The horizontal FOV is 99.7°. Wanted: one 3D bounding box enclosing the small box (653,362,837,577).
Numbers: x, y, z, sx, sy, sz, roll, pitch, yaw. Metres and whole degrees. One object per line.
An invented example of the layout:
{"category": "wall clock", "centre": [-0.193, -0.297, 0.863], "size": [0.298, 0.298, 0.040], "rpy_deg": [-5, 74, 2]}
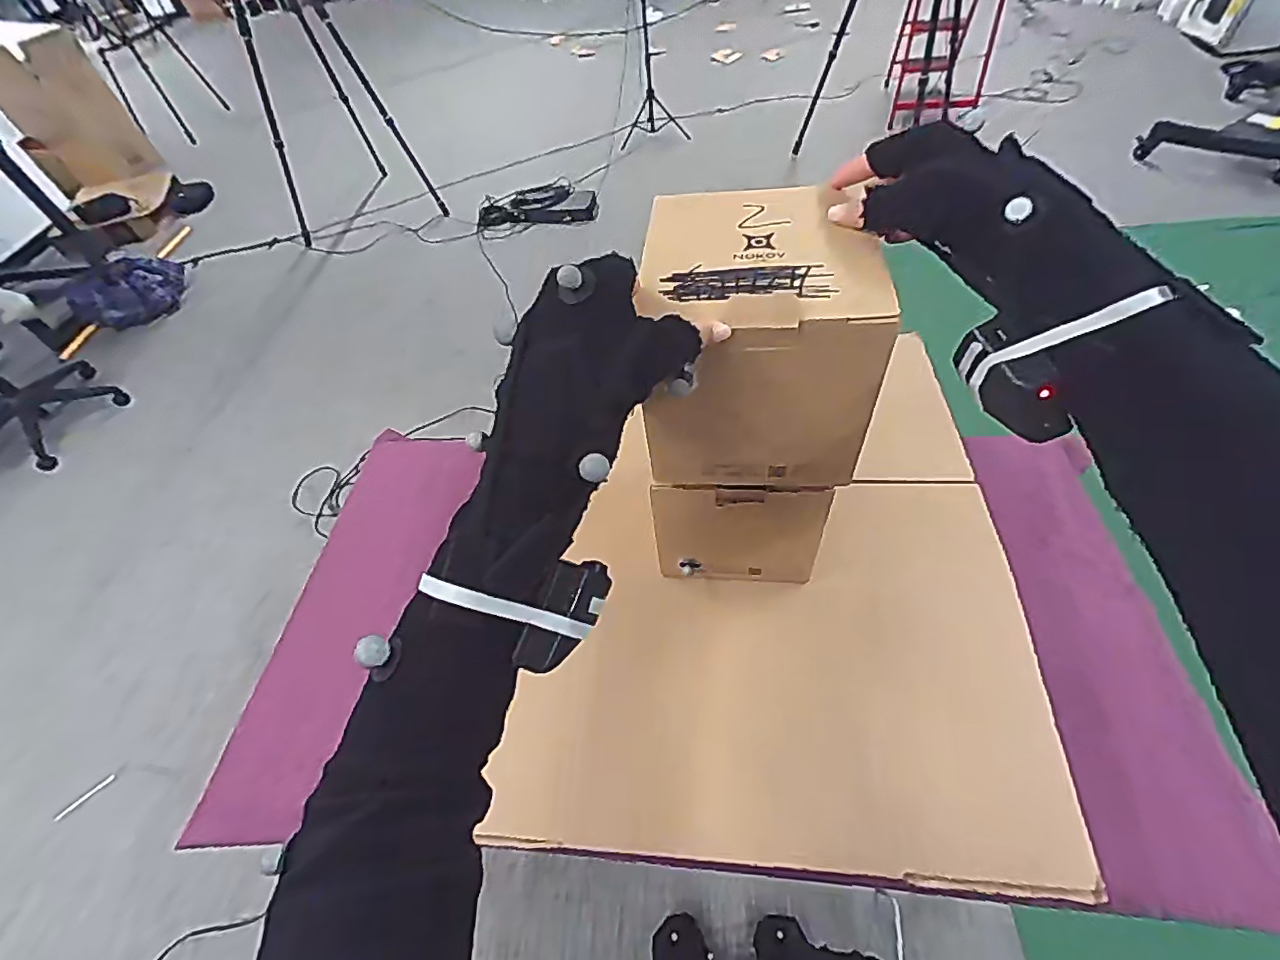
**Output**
{"category": "small box", "centre": [0.105, -0.004, 0.592], "size": [0.168, 0.176, 0.179], "rpy_deg": [-1, 53, 6]}
